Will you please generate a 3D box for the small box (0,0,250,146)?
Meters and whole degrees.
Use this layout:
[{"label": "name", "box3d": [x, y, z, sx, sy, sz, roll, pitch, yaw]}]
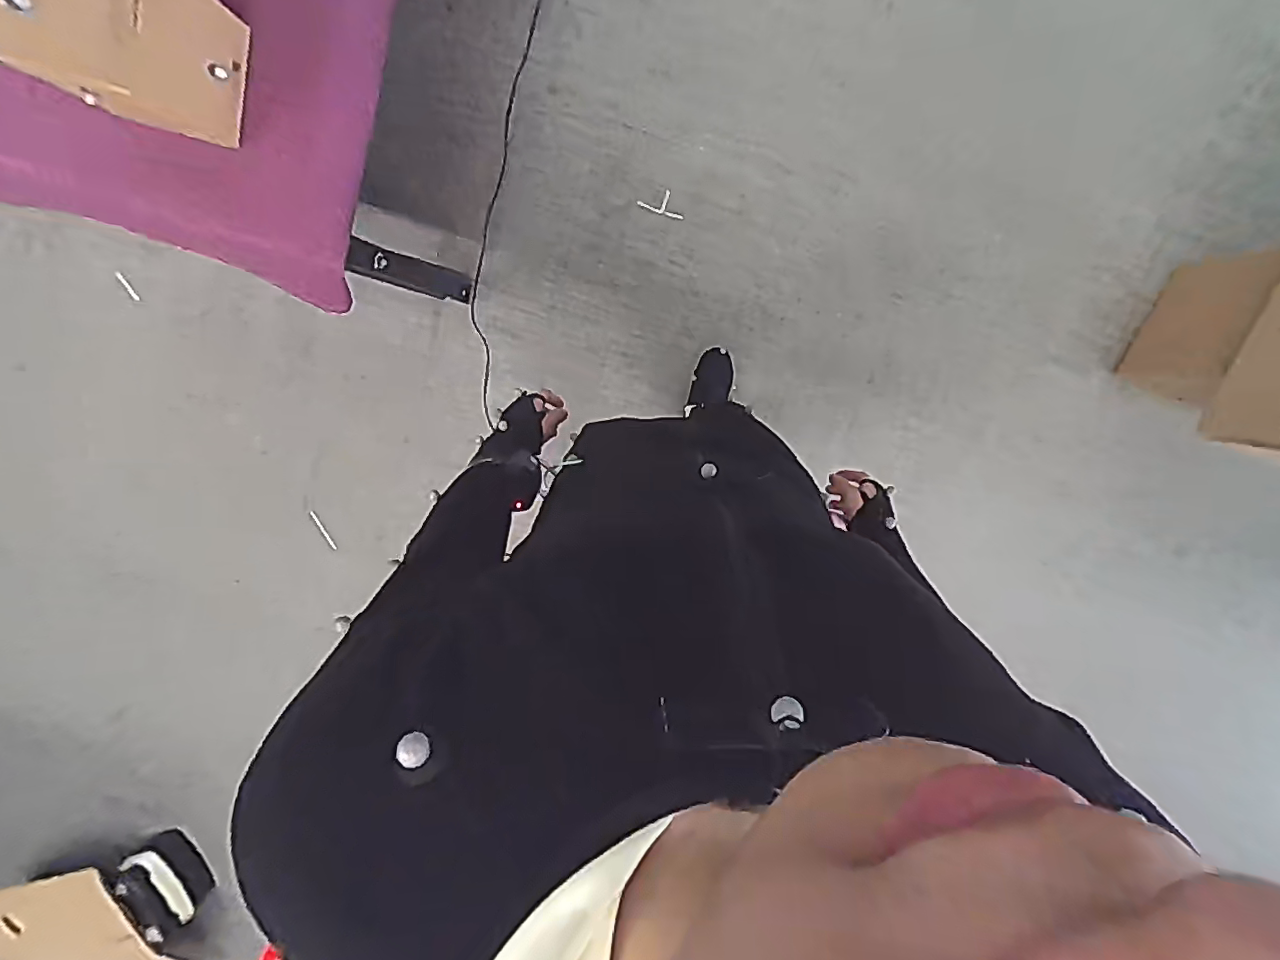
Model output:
[{"label": "small box", "box3d": [-0.661, -0.570, 0.704, 0.179, 0.176, 0.168, 15, 102, -1]}]
